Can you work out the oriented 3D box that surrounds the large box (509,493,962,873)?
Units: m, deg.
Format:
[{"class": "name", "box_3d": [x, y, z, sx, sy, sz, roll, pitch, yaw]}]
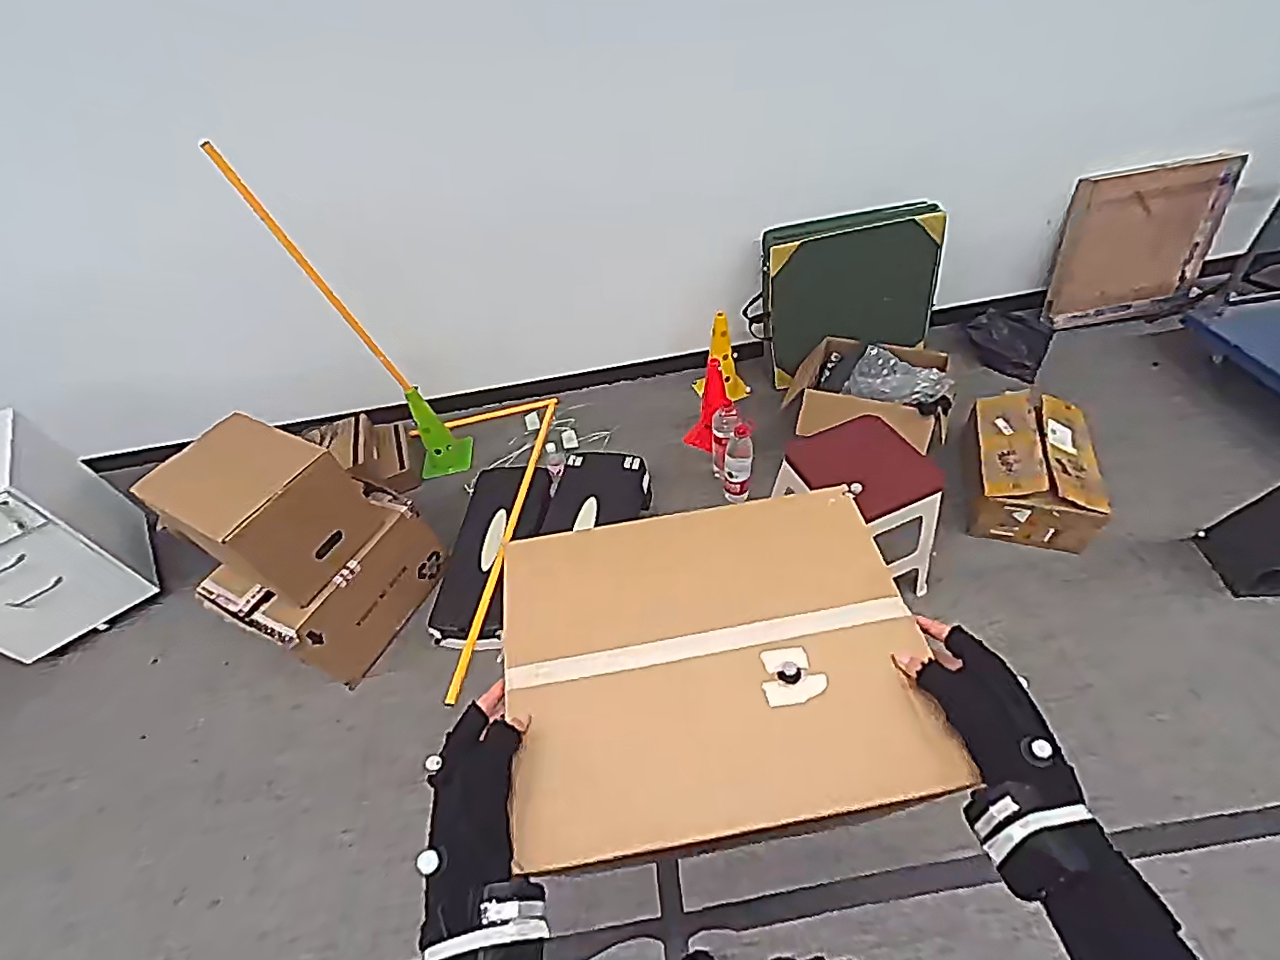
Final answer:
[{"class": "large box", "box_3d": [0.074, 0.258, 0.669, 0.408, 0.320, 0.320, -9, 53, -2]}]
